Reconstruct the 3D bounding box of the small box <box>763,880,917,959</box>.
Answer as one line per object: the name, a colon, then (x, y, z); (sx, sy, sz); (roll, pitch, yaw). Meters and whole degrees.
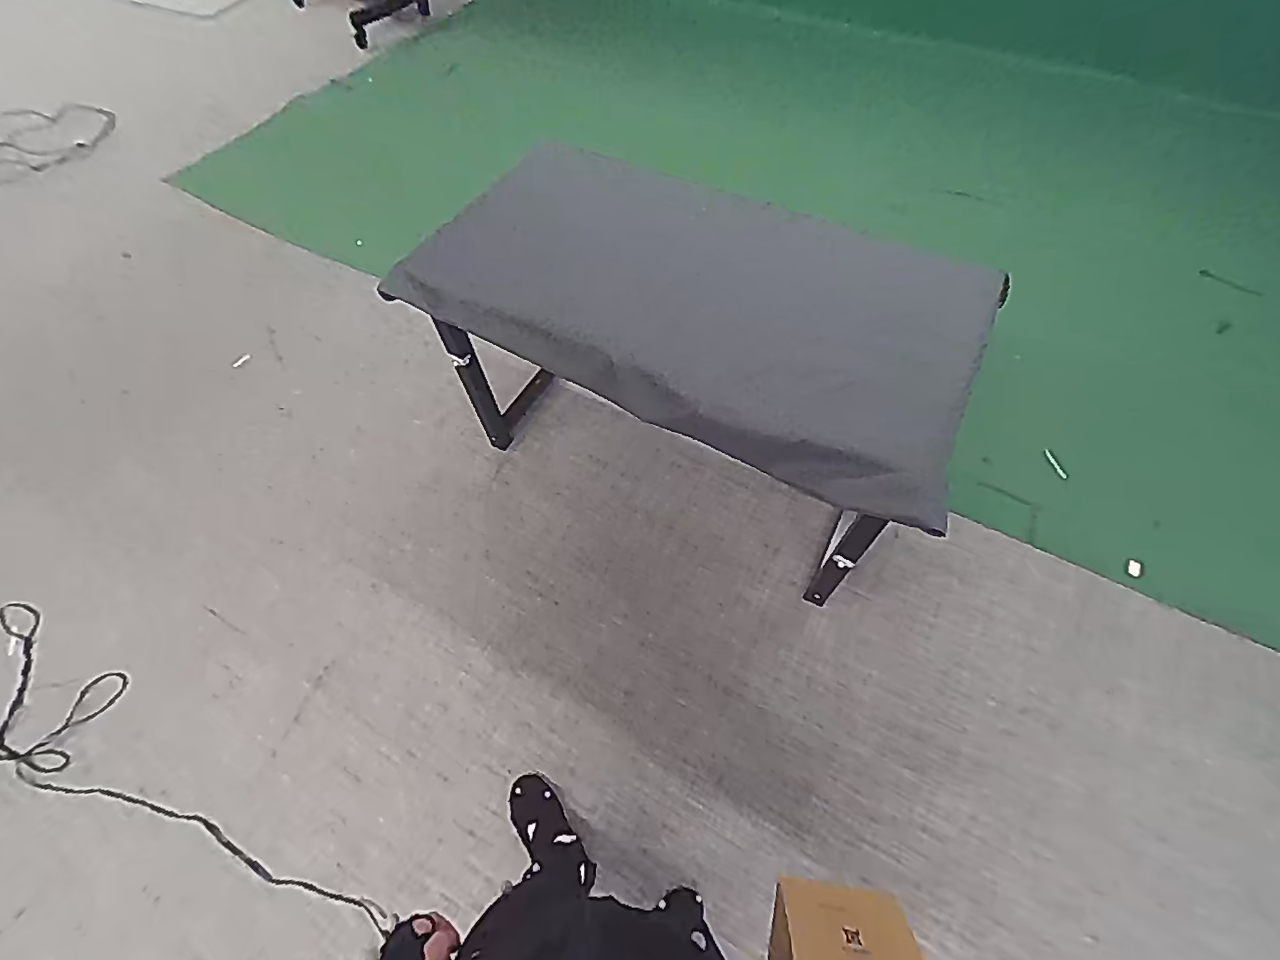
small box: (0.250, 0.659, 0.677); (0.168, 0.179, 0.176); (7, 93, 4)
